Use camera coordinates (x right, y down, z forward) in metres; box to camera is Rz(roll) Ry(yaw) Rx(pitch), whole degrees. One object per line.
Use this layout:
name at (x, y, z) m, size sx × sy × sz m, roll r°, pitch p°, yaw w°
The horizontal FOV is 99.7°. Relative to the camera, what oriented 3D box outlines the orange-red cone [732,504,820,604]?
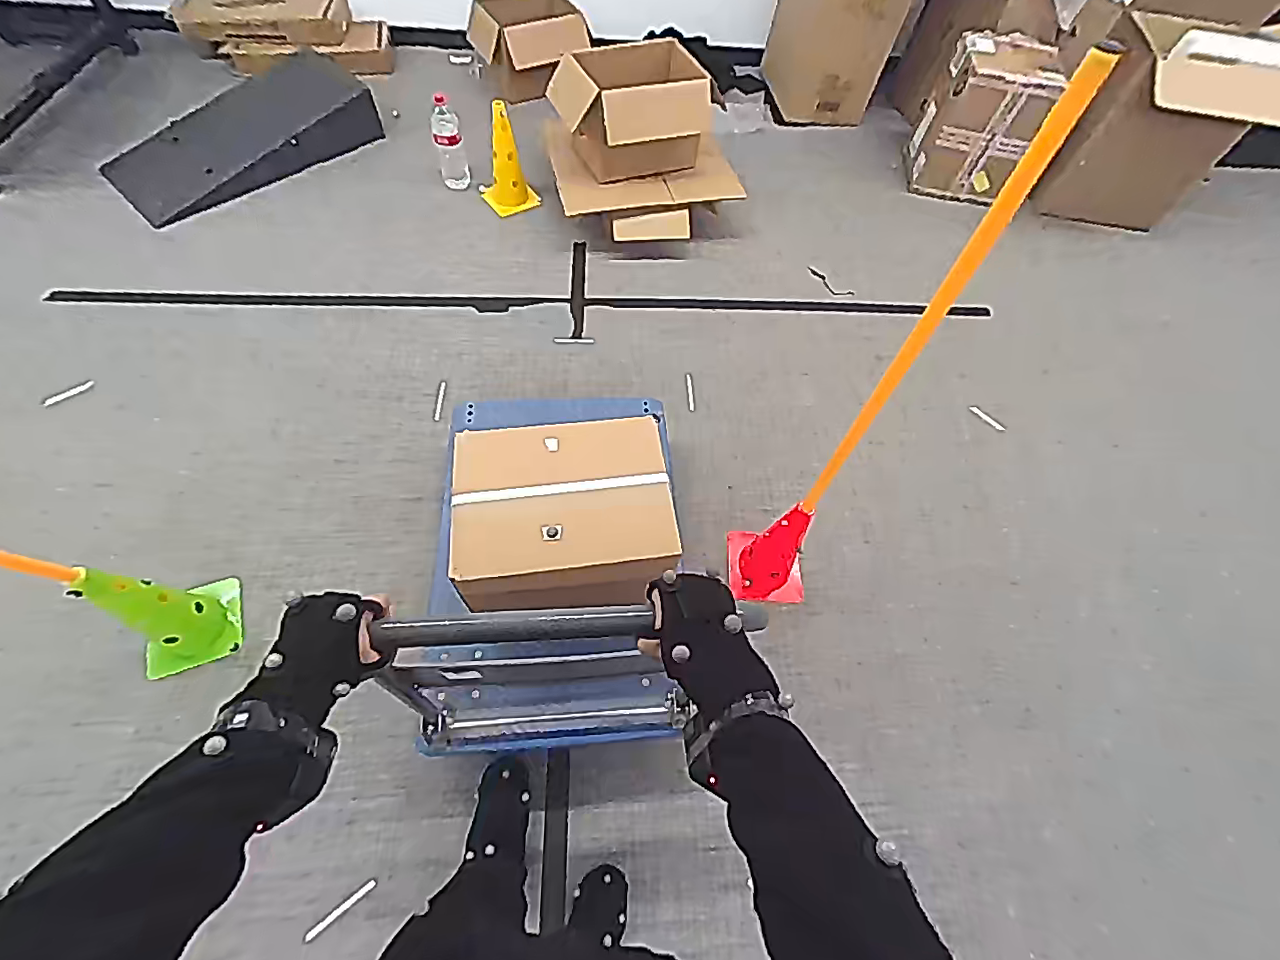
orange-red cone at (0.365, 0.154, 1.336) m, size 0.199 × 0.360 × 0.198 m, roll 6°, pitch 60°, yaw -2°
